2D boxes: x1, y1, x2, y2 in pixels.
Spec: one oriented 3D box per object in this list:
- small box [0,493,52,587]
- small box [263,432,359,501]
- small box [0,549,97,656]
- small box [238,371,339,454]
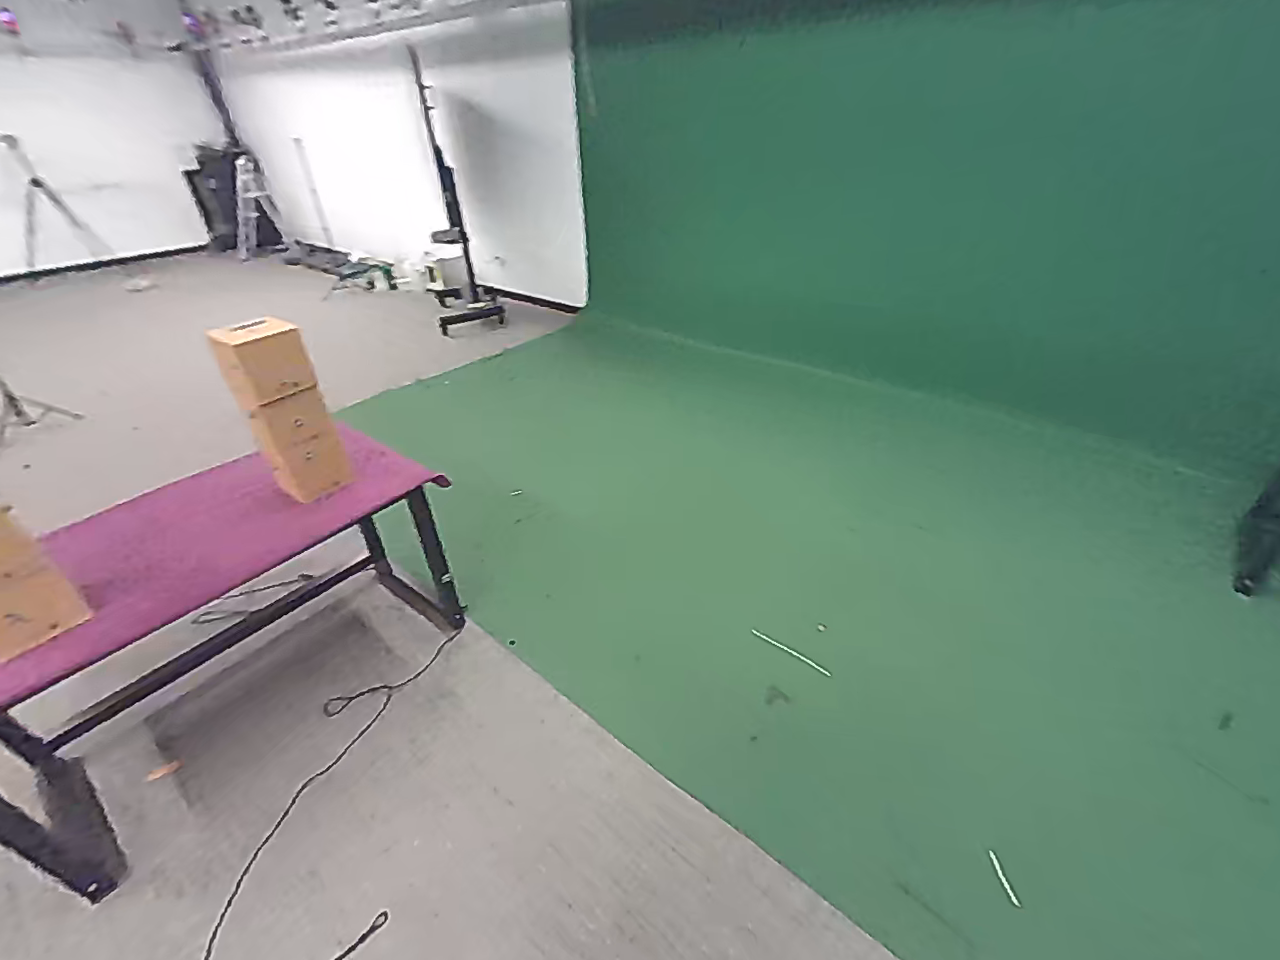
[{"bbox_3d":[-1.389,0.129,1.121,0.179,0.176,0.168,21,40,31],"label":"small box"},{"bbox_3d":[-1.007,-0.057,1.663,0.179,0.176,0.168,21,42,32],"label":"small box"},{"bbox_3d":[-1.385,0.265,1.213,0.179,0.176,0.168,21,40,30],"label":"small box"},{"bbox_3d":[-1.015,-0.194,1.571,0.179,0.176,0.168,23,41,33],"label":"small box"}]
